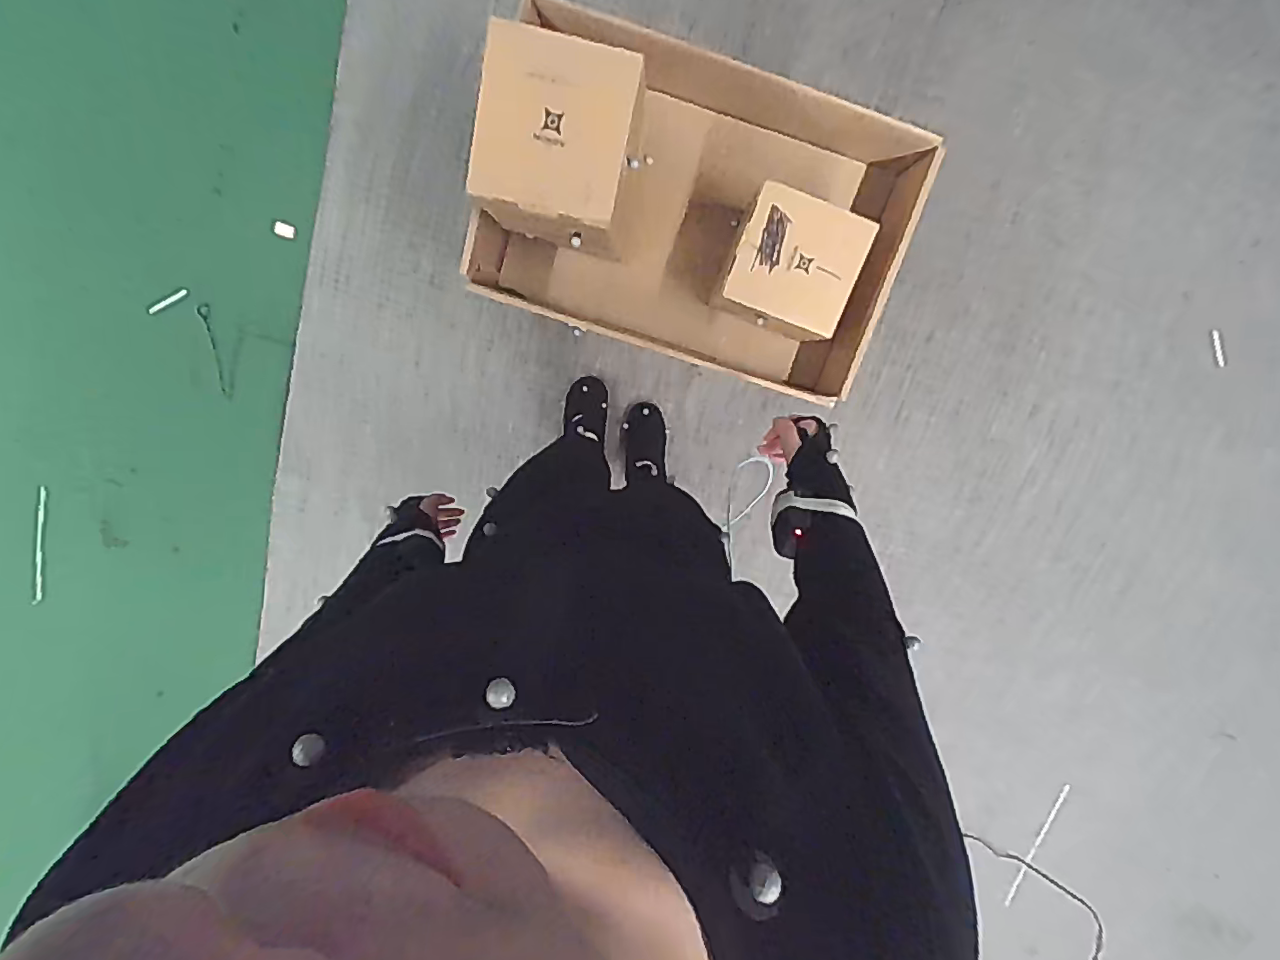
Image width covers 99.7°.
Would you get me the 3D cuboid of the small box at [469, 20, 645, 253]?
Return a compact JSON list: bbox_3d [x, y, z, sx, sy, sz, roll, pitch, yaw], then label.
[{"bbox_3d":[-0.089,-0.393,0.657,0.168,0.176,0.179,14,103,-2],"label":"small box"}]
